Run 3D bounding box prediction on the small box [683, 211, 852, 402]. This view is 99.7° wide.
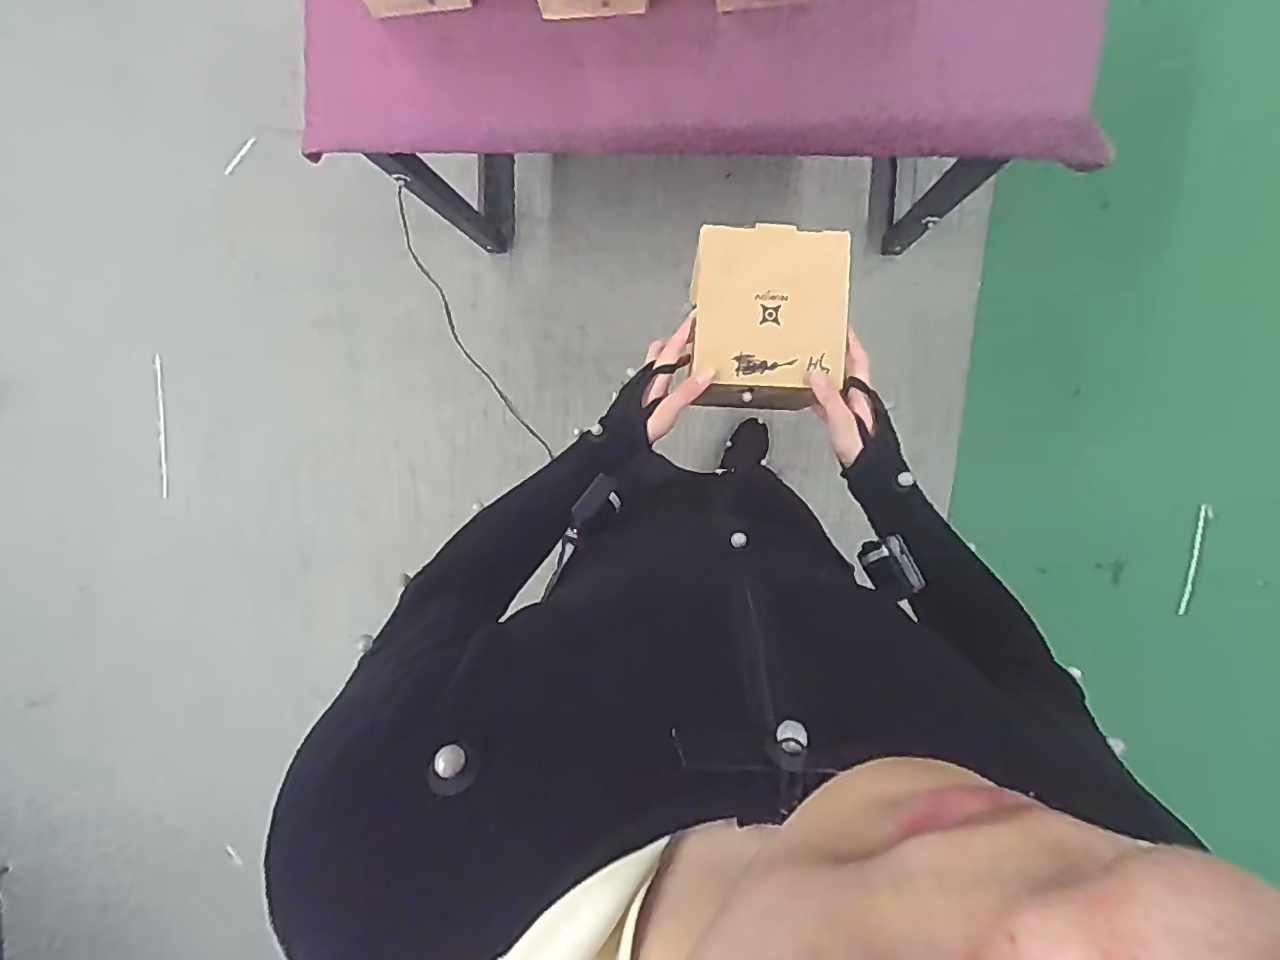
[{"bbox_3d":[0.144,-0.199,0.664,0.168,0.176,0.179,4,91,1],"label":"small box"}]

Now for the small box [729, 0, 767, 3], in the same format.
[{"bbox_3d":[0.191,-0.787,0.711,0.168,0.176,0.179,1,97,6],"label":"small box"}]

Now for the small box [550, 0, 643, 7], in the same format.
[{"bbox_3d":[-0.072,-0.804,0.738,0.168,0.176,0.179,2,97,6],"label":"small box"}]
